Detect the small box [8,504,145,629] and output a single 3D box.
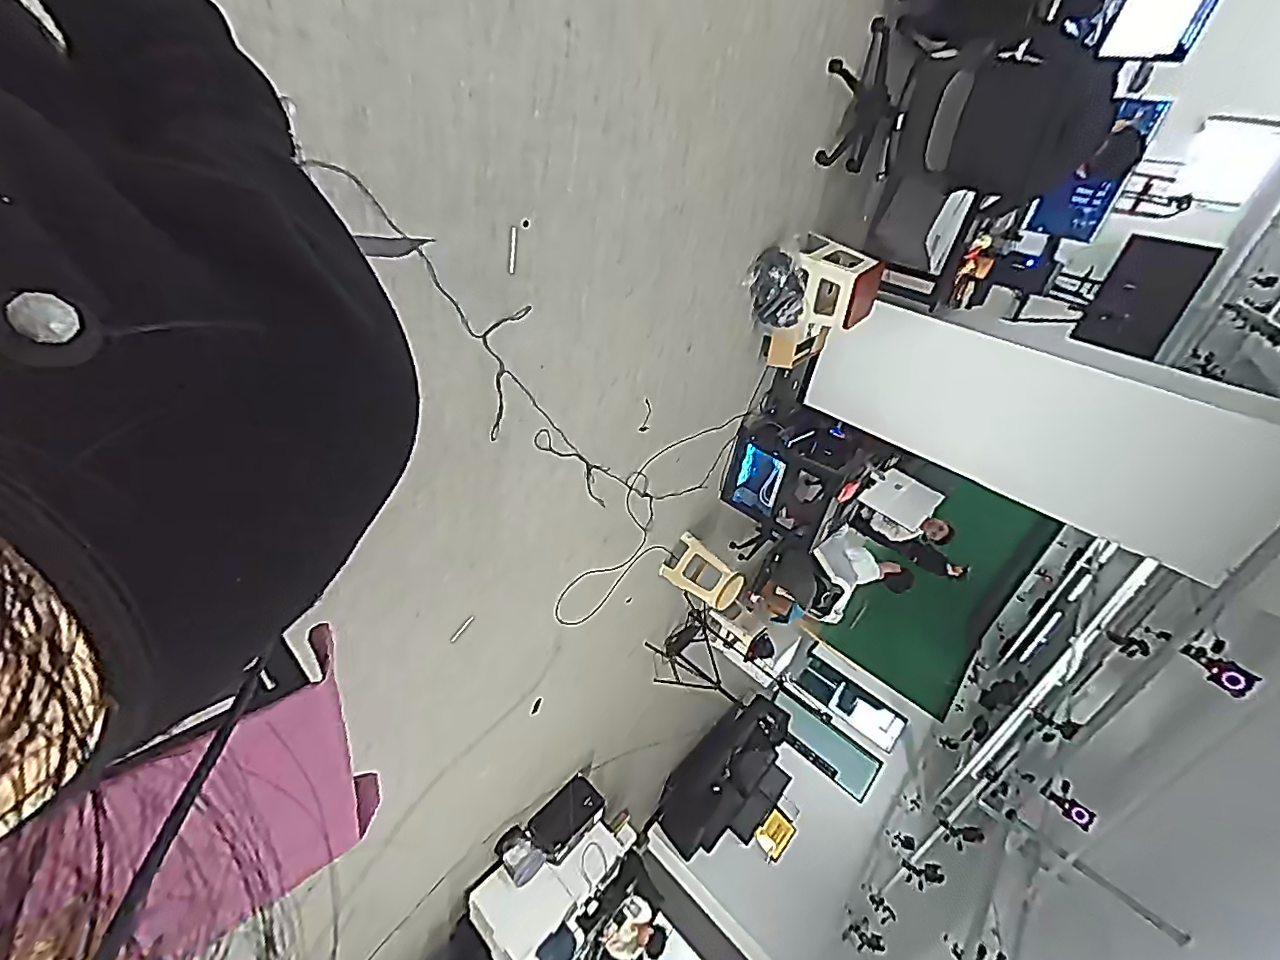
[{"bbox_3d":[-1.223,0.181,1.179,0.168,0.176,0.179,-21,135,-45],"label":"small box"}]
